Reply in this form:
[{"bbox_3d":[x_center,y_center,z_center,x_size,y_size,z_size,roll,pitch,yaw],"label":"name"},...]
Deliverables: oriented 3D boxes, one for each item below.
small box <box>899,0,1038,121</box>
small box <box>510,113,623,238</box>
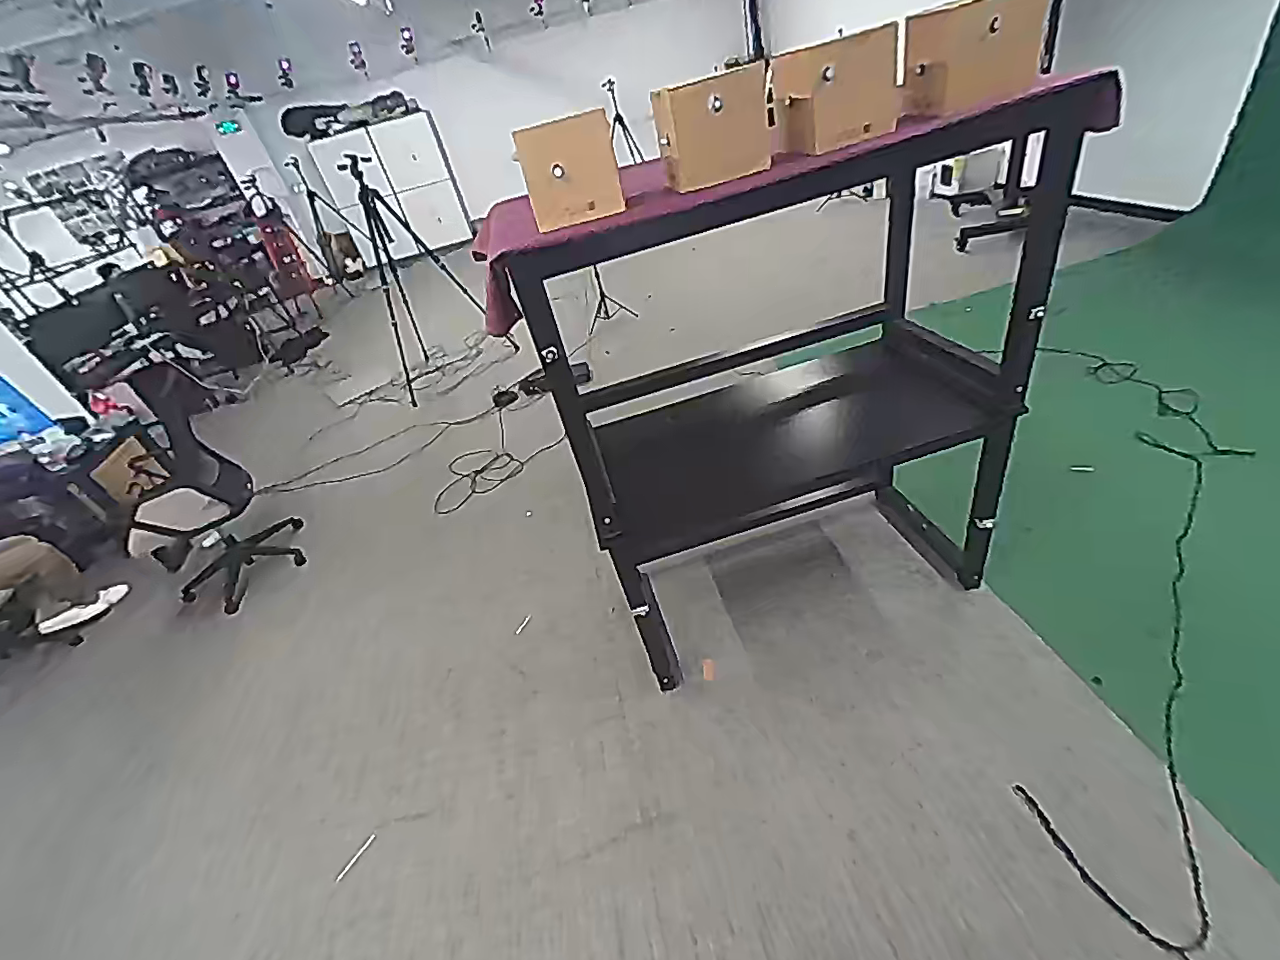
[{"bbox_3d":[0.627,-0.817,1.049,0.179,0.176,0.168,-16,37,2],"label":"small box"},{"bbox_3d":[-0.135,-0.574,1.027,0.168,0.176,0.179,-15,34,1],"label":"small box"}]
